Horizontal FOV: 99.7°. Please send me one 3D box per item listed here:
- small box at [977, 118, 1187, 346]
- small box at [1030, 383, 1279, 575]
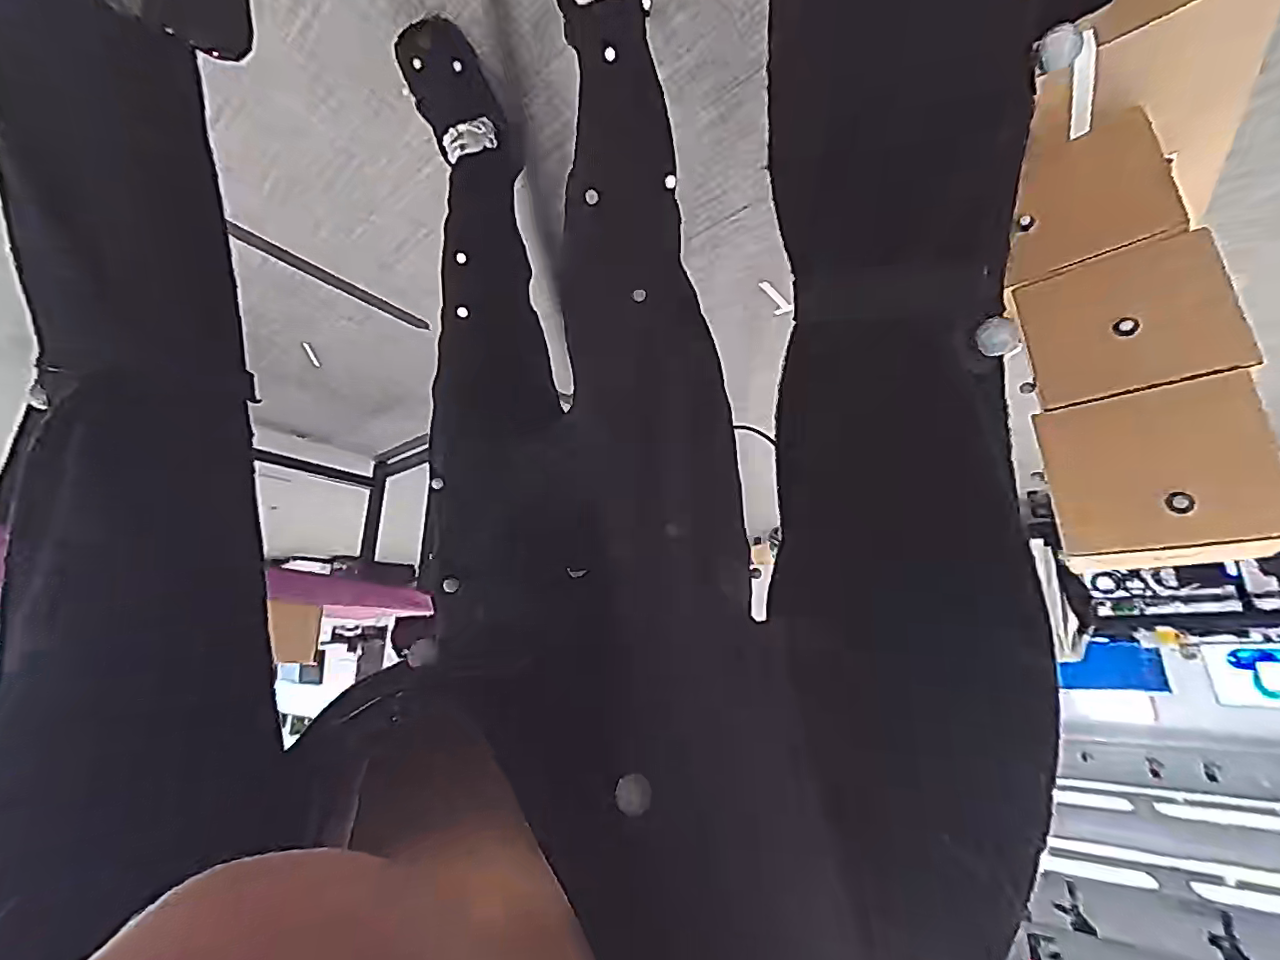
[{"bbox_3d":[0.557,-0.308,0.701,0.179,0.176,0.168,-16,158,38],"label":"small box"},{"bbox_3d":[0.569,0.009,0.609,0.179,0.176,0.168,-14,158,36],"label":"small box"}]
